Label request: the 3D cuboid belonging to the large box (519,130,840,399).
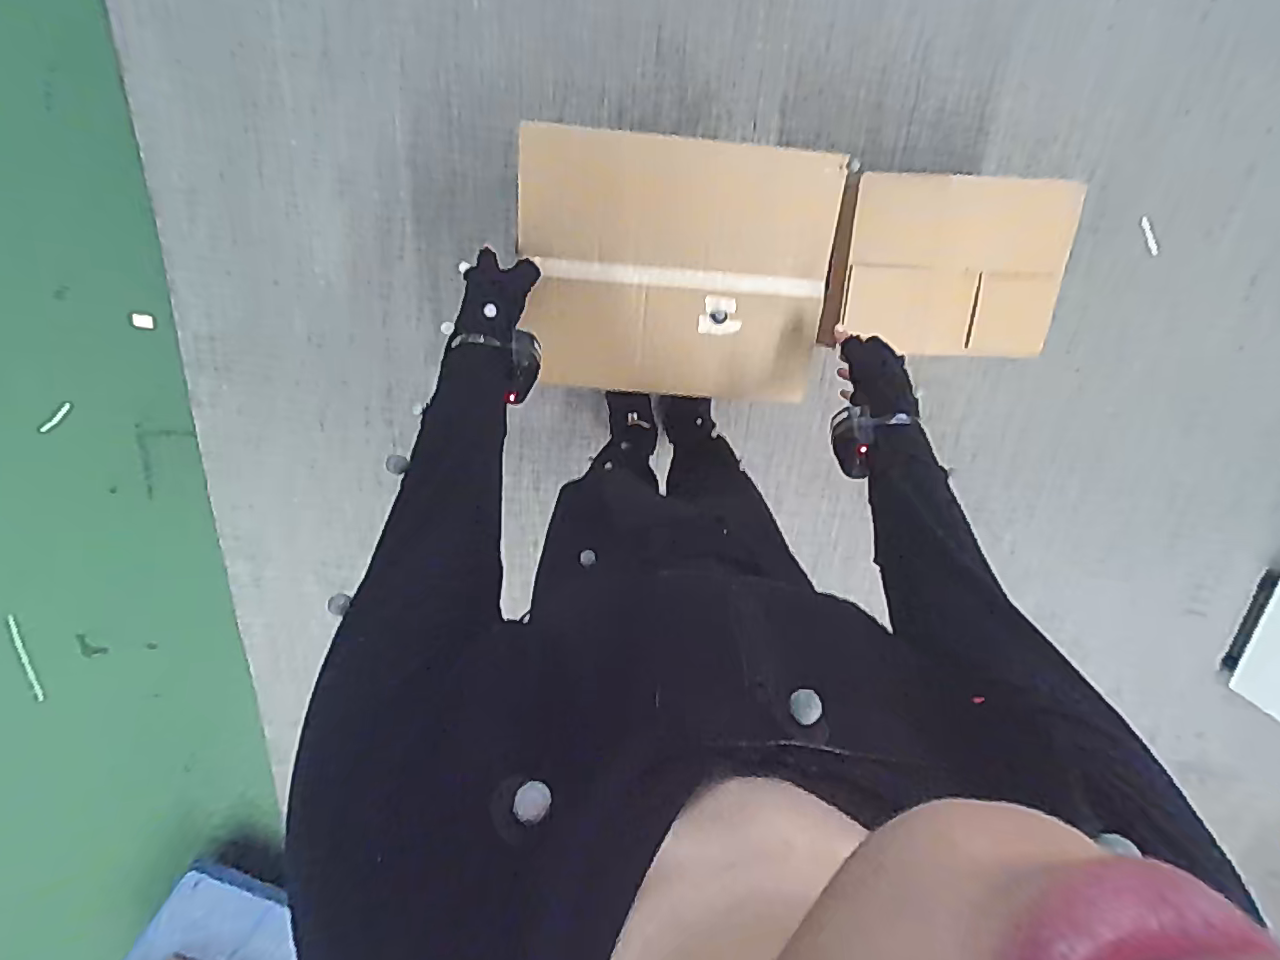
[{"bbox_3d":[0.034,-0.319,0.851,0.408,0.320,0.320,3,111,-4],"label":"large box"}]
